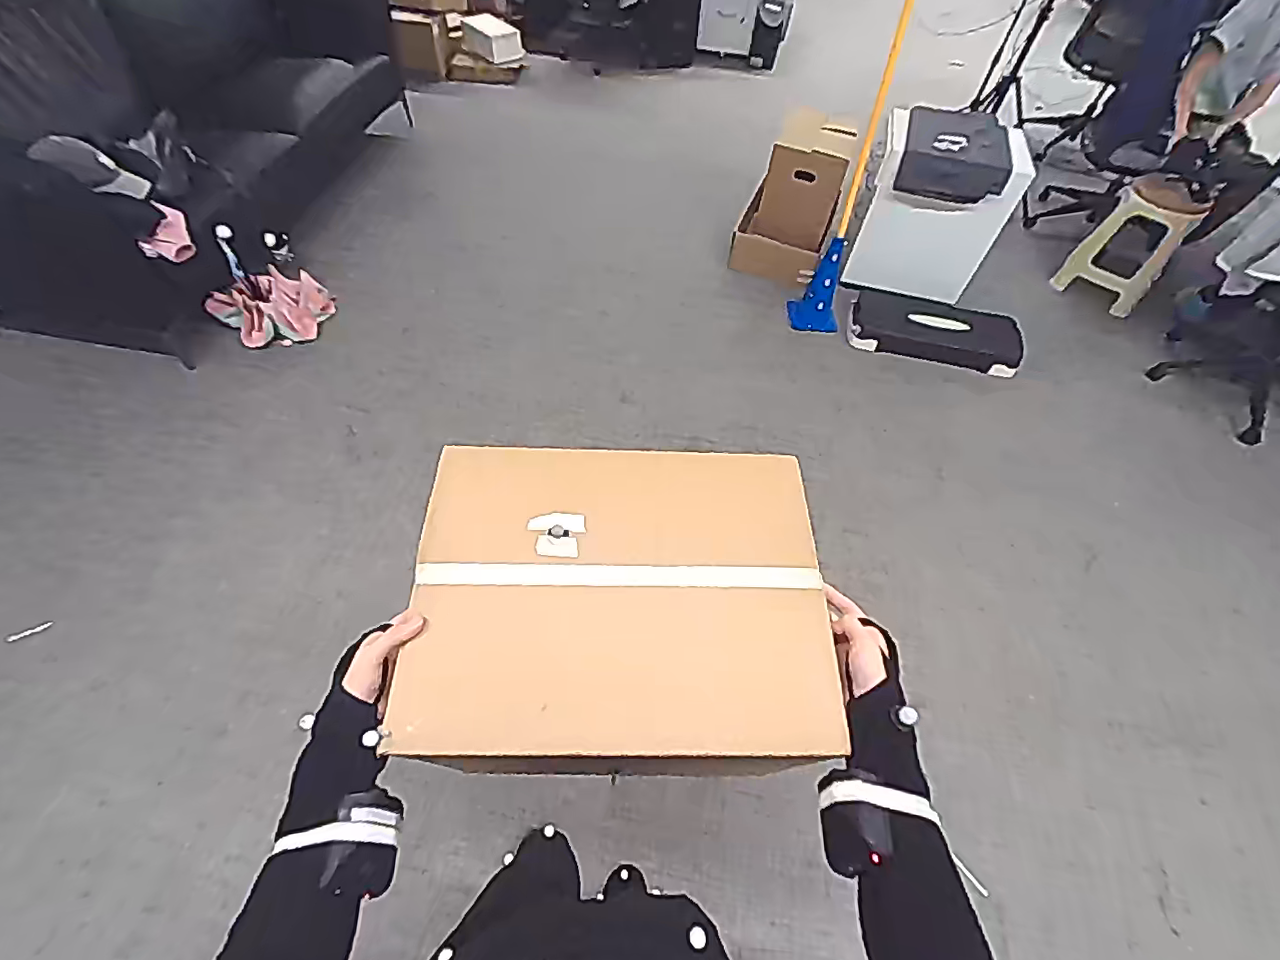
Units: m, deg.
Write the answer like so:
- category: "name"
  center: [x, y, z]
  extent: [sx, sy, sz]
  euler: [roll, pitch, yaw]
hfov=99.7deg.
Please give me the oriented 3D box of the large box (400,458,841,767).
- category: "large box"
  center: [-0.019, 0.182, 0.684]
  extent: [0.408, 0.320, 0.320]
  euler: [1, 58, -2]
